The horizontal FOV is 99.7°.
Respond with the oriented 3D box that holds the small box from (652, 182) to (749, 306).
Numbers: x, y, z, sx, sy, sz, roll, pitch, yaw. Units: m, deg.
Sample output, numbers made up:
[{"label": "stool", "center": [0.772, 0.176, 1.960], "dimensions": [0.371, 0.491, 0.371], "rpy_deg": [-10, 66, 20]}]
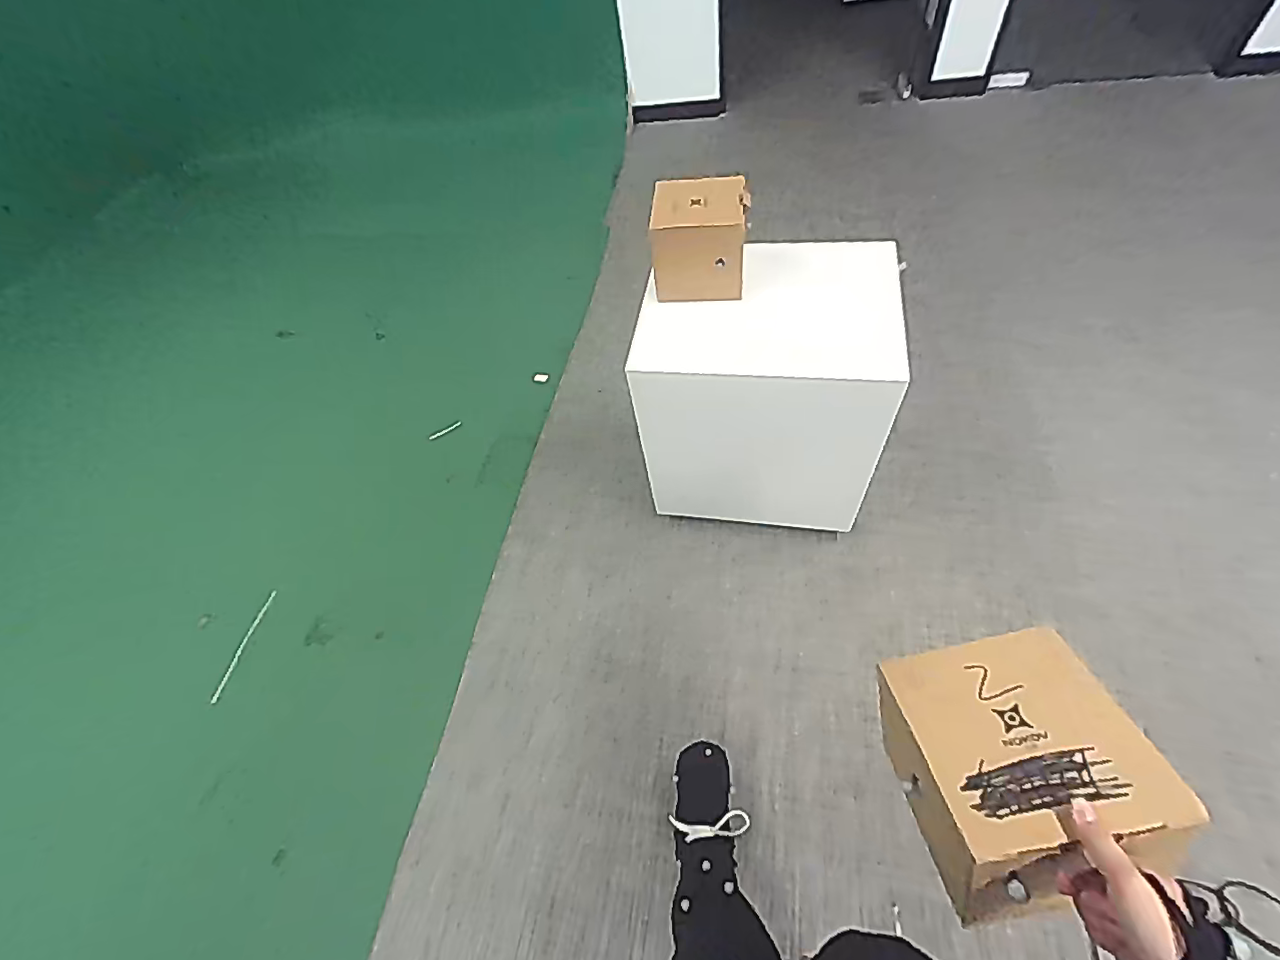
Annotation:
[{"label": "small box", "center": [0.126, -0.468, 1.087], "dimensions": [0.179, 0.176, 0.168], "rpy_deg": [1, 56, 10]}]
